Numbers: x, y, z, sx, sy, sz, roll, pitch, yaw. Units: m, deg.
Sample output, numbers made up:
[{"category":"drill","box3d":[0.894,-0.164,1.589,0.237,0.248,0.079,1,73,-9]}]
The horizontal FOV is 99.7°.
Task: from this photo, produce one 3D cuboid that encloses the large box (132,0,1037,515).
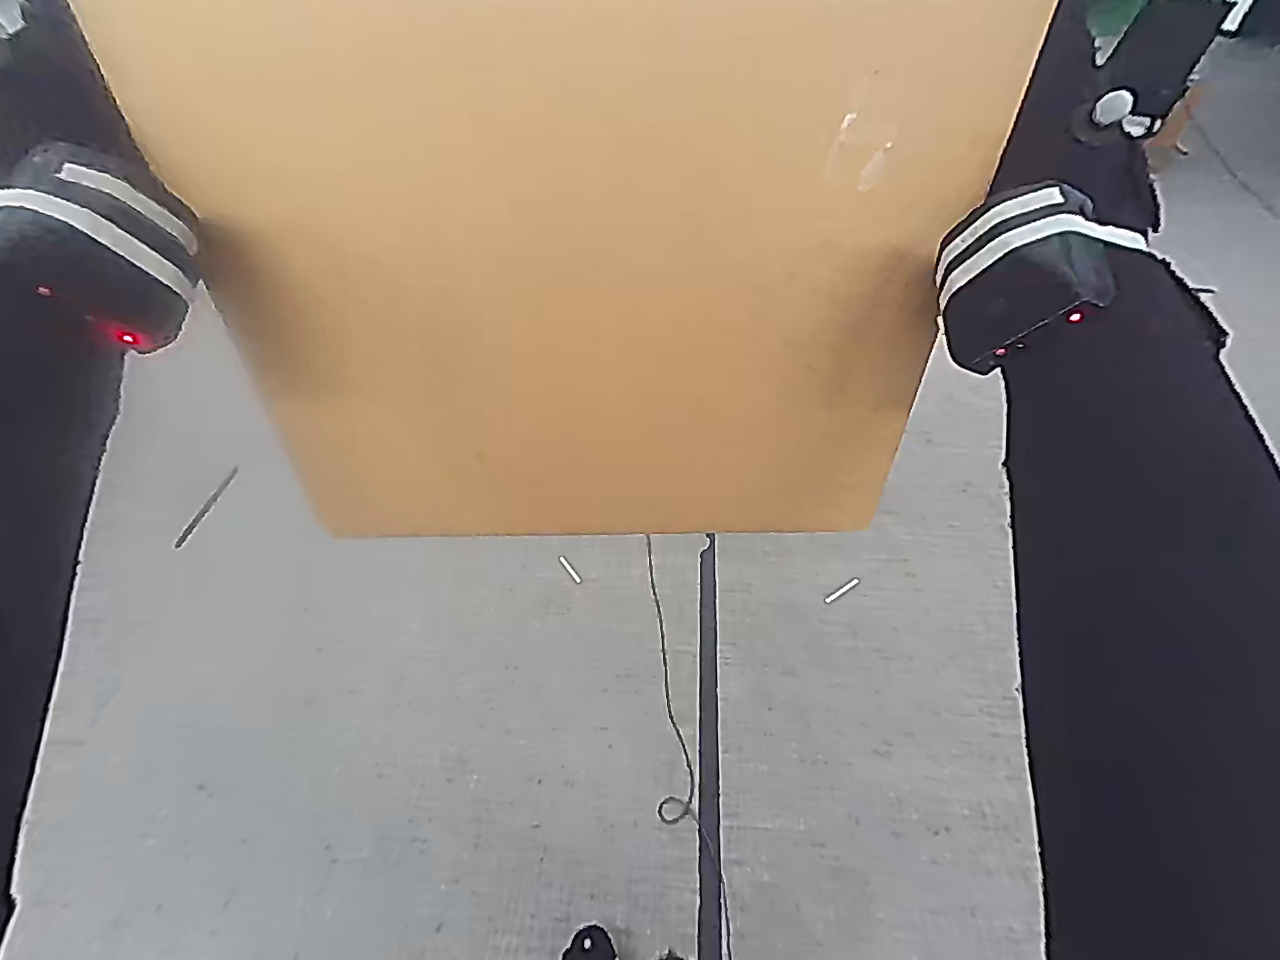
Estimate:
[{"category":"large box","box3d":[-0.031,-0.183,0.435,0.408,0.320,0.320,0,38,-2]}]
